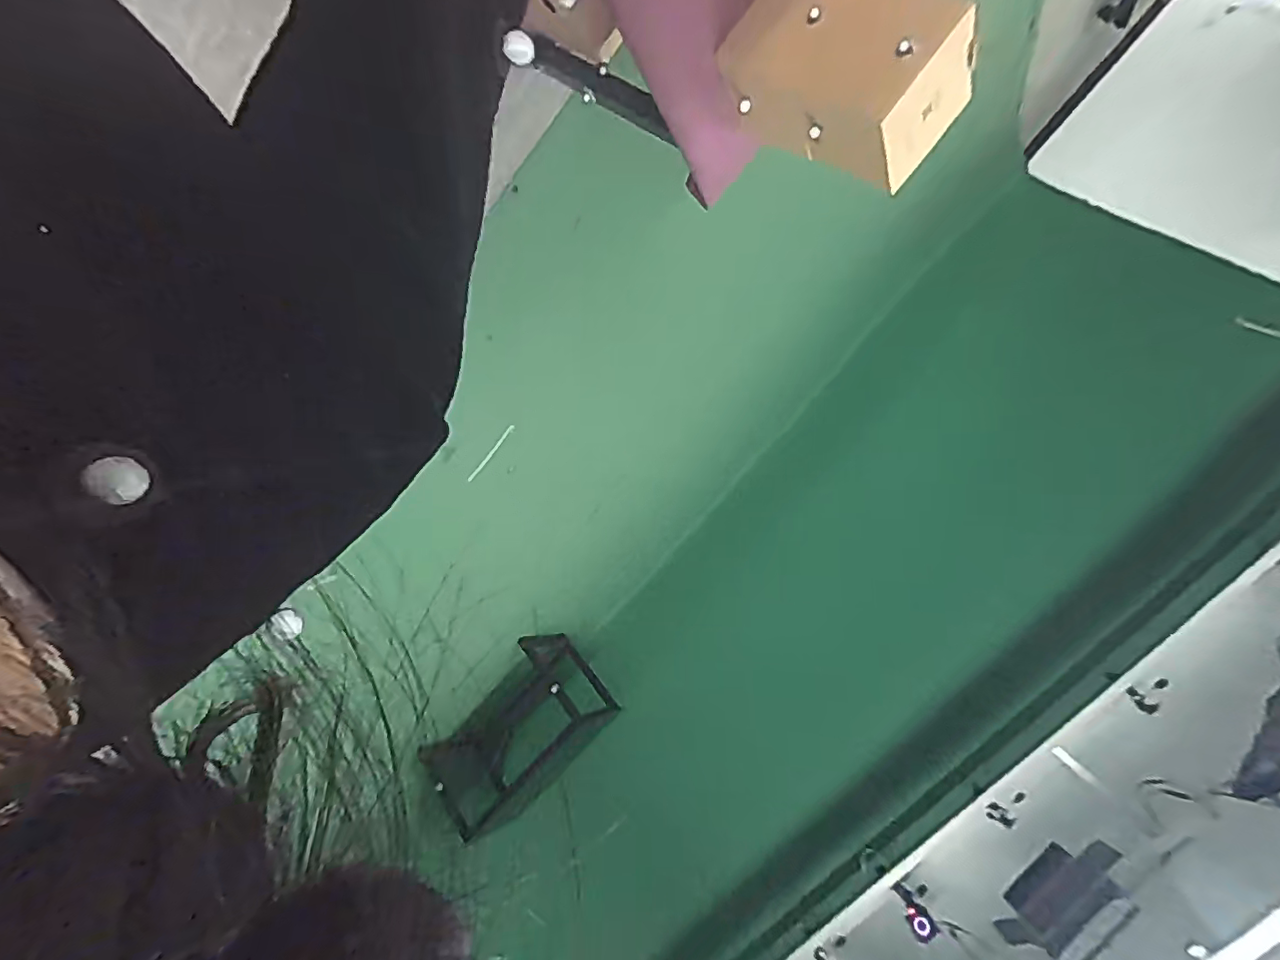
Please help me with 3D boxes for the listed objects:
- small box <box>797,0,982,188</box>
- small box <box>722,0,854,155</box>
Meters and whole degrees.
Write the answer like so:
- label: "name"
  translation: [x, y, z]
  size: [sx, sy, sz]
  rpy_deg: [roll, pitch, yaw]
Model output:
- label: "small box"
  translation: [0.366, -0.591, 0.807]
  size: [0.179, 0.176, 0.168]
  rpy_deg: [-50, 152, 12]
- label: "small box"
  translation: [0.266, -0.691, 0.885]
  size: [0.179, 0.176, 0.168]
  rpy_deg: [-49, 153, 9]
